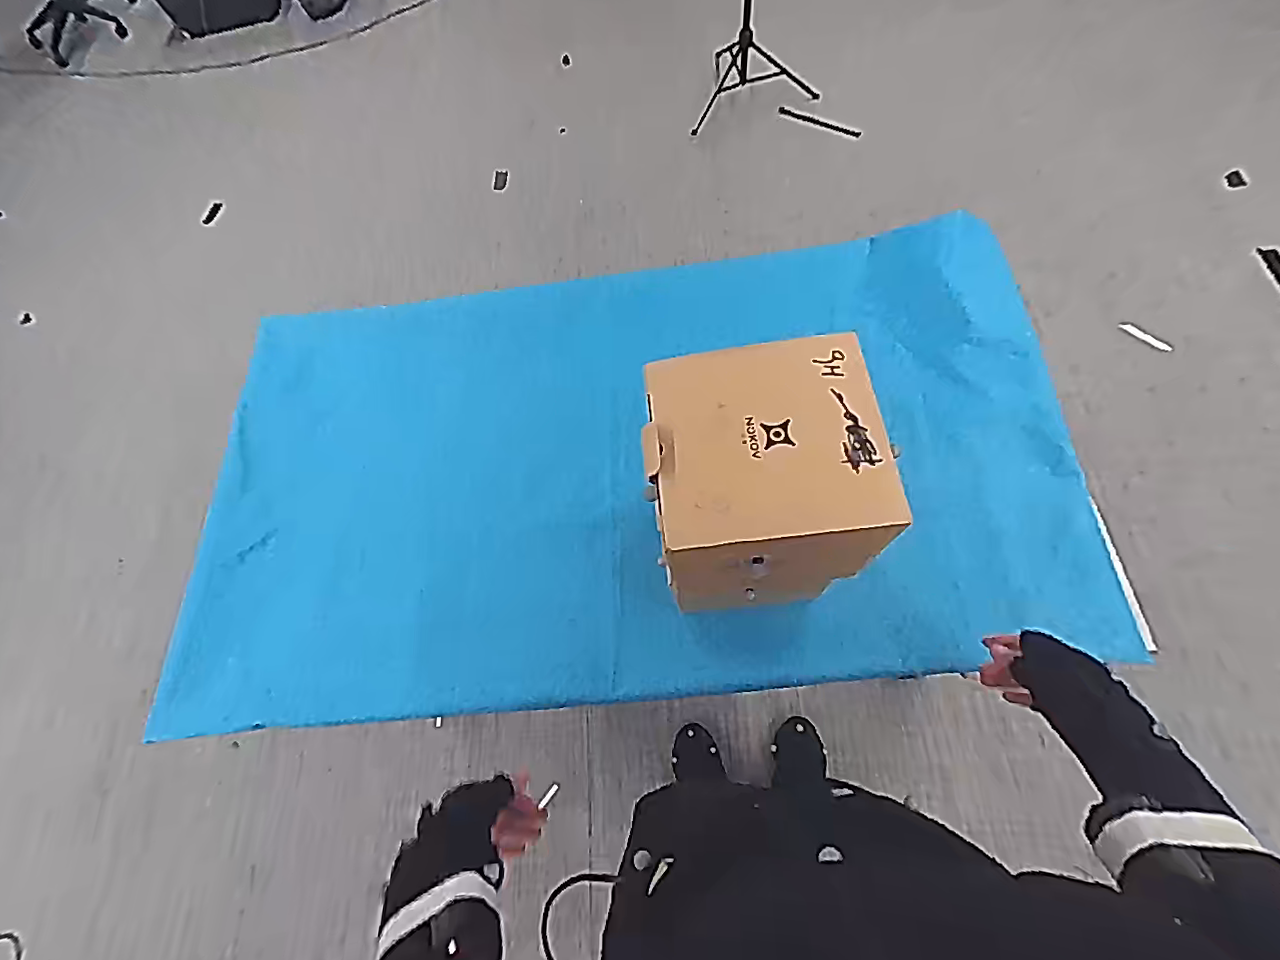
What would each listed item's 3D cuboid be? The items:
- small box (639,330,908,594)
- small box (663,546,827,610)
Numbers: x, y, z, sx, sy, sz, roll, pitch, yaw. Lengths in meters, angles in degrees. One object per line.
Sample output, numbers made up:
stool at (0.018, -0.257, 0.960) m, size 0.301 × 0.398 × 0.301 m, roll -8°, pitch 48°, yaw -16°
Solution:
small box at (0.105, -0.003, 0.486) m, size 0.179 × 0.176 × 0.168 m, roll -10°, pitch 66°, yaw 4°
small box at (0.121, 0.053, 0.638) m, size 0.179 × 0.176 × 0.168 m, roll -7°, pitch 67°, yaw 7°
